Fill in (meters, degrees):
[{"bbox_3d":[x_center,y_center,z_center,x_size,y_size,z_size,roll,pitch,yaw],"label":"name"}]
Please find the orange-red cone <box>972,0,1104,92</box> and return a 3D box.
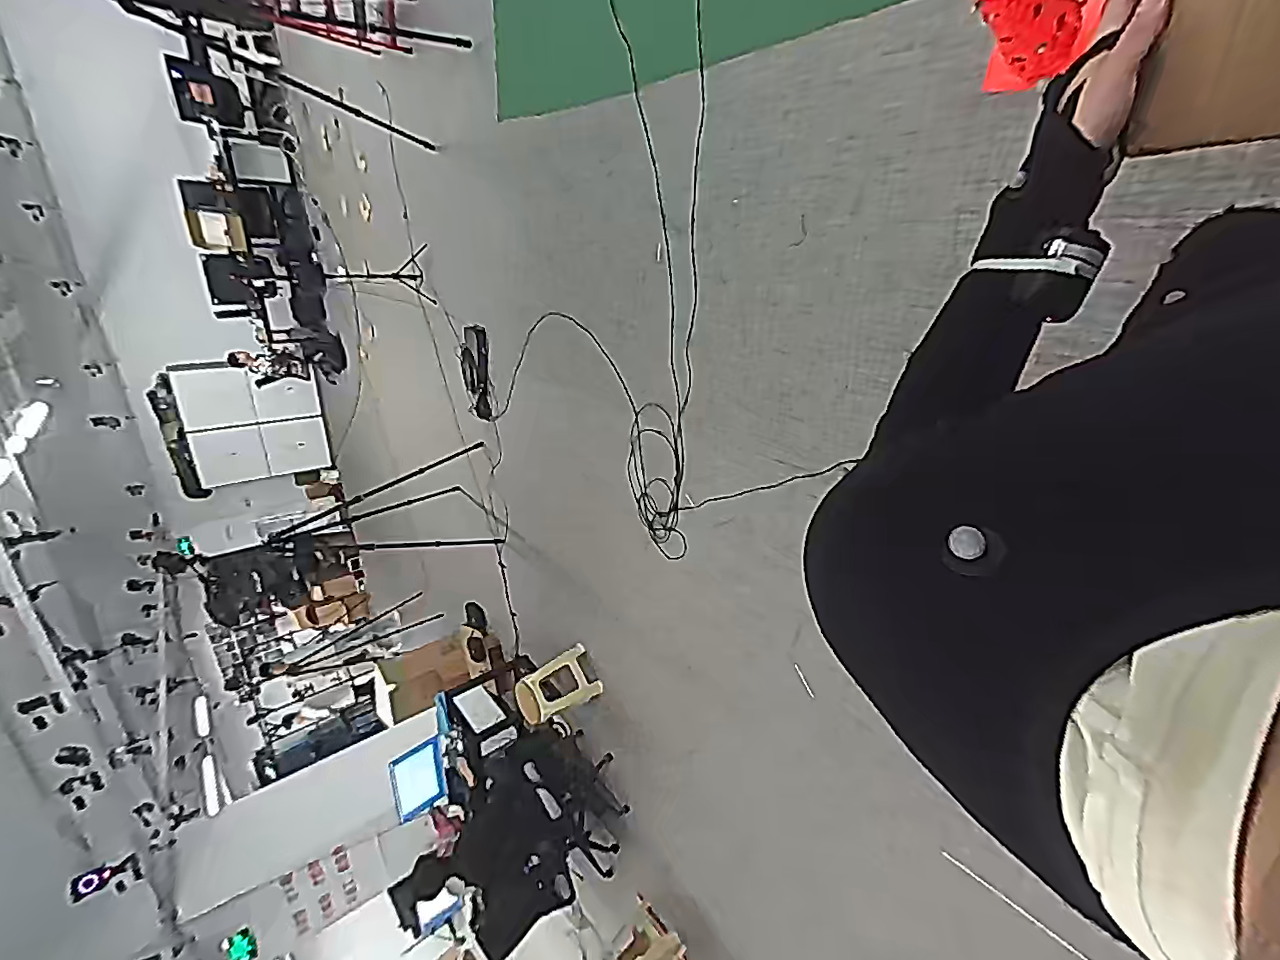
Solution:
[{"bbox_3d":[0.767,-0.961,1.117,0.199,0.360,0.198,35,128,42],"label":"orange-red cone"}]
